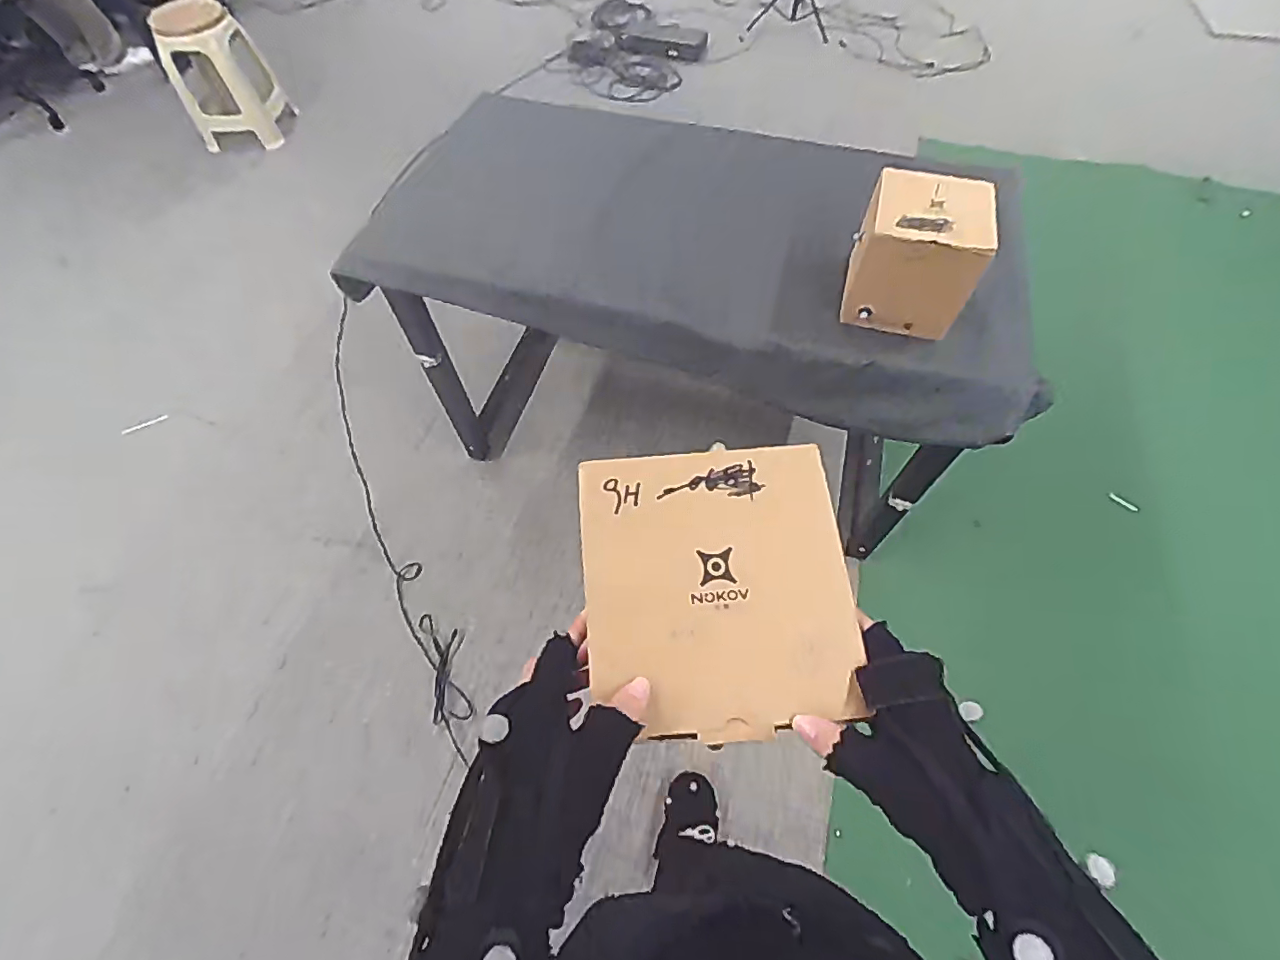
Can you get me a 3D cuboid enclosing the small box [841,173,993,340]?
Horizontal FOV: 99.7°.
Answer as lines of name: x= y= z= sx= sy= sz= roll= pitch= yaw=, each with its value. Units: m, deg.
small box: x=0.431 y=-0.351 z=0.860 sx=0.168 sy=0.176 sz=0.179 roll=15 pitch=59 yaw=10
